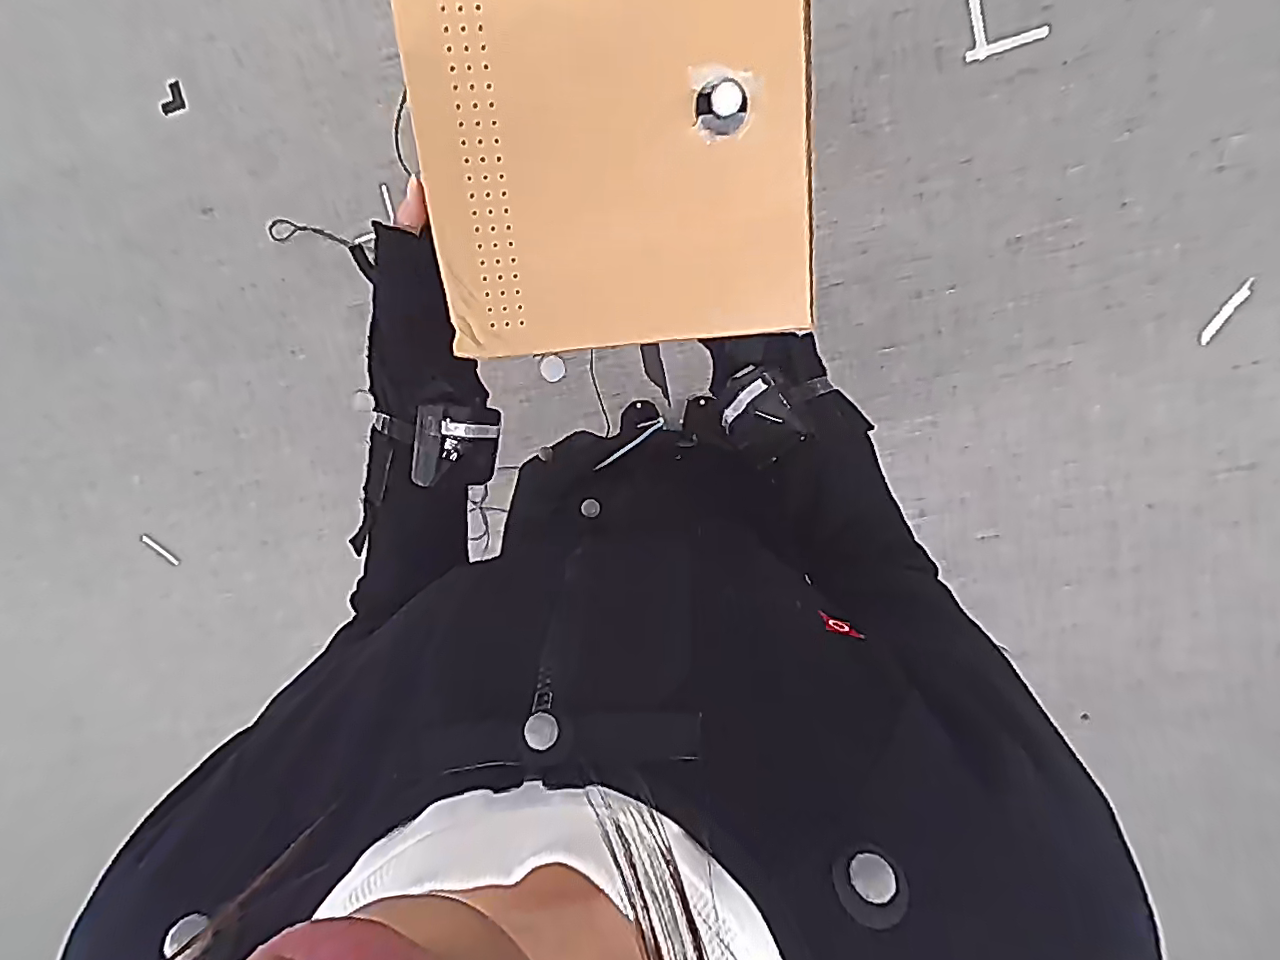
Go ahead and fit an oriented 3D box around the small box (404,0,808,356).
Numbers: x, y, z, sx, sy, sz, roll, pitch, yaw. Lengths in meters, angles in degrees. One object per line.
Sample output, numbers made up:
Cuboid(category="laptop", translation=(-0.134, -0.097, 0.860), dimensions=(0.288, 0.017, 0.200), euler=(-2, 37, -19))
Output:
Cuboid(category="small box", translation=(-0.020, -0.170, 0.310), dimensions=(0.176, 0.168, 0.179), euler=(-7, 105, -5))
